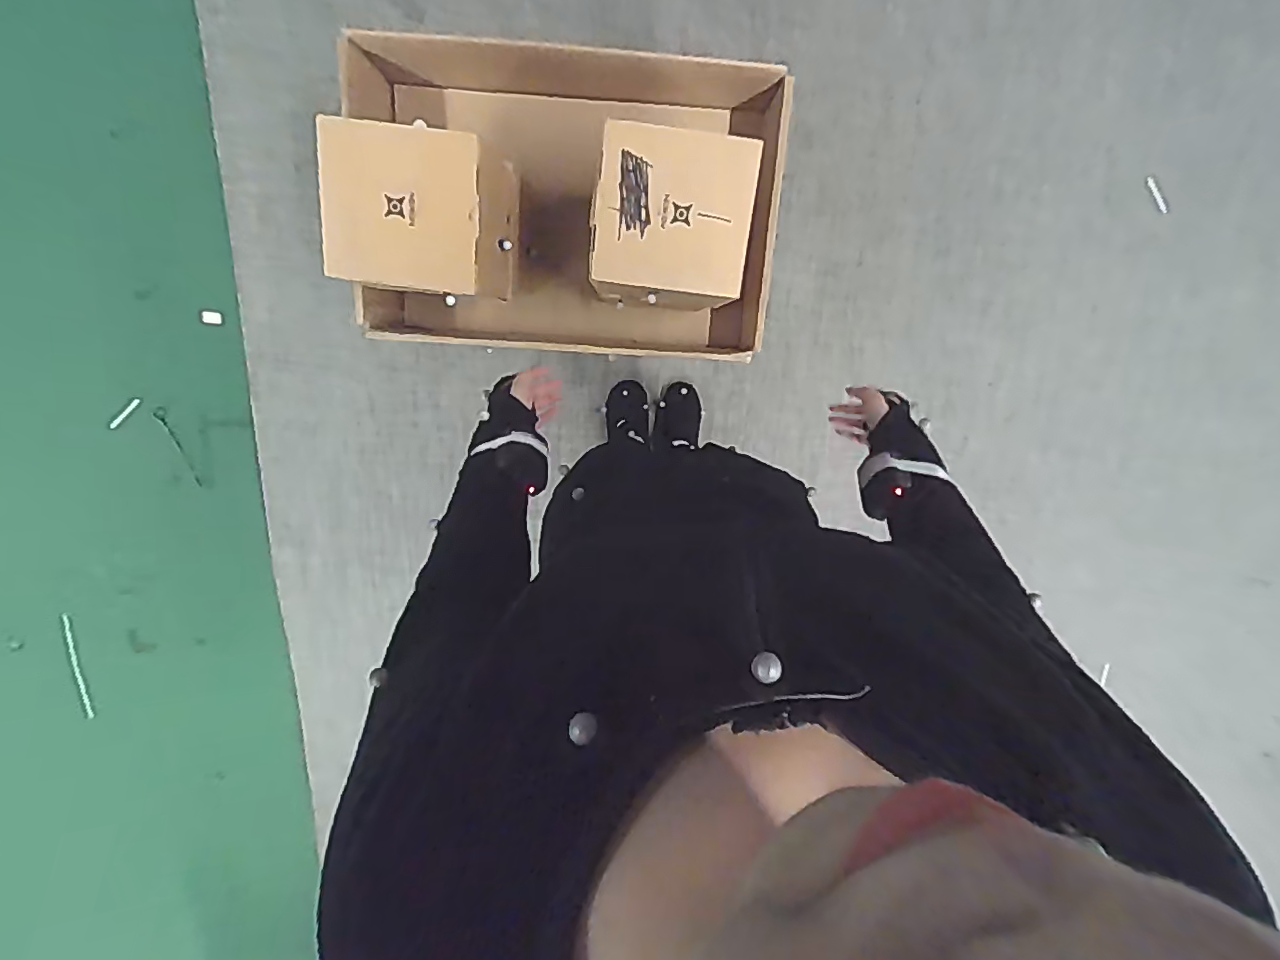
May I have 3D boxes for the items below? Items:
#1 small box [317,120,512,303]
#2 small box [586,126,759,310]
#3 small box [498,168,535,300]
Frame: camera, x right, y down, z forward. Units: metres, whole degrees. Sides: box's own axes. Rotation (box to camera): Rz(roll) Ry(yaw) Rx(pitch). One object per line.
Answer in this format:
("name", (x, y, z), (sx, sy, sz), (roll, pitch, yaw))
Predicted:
("small box", (-0.270, -0.318, 0.678), (0.179, 0.176, 0.168), (6, 105, -3))
("small box", (0.033, -0.310, 0.677), (0.179, 0.176, 0.168), (6, 104, -3))
("small box", (-0.268, -0.374, 0.831), (0.179, 0.176, 0.168), (5, 105, -3))
